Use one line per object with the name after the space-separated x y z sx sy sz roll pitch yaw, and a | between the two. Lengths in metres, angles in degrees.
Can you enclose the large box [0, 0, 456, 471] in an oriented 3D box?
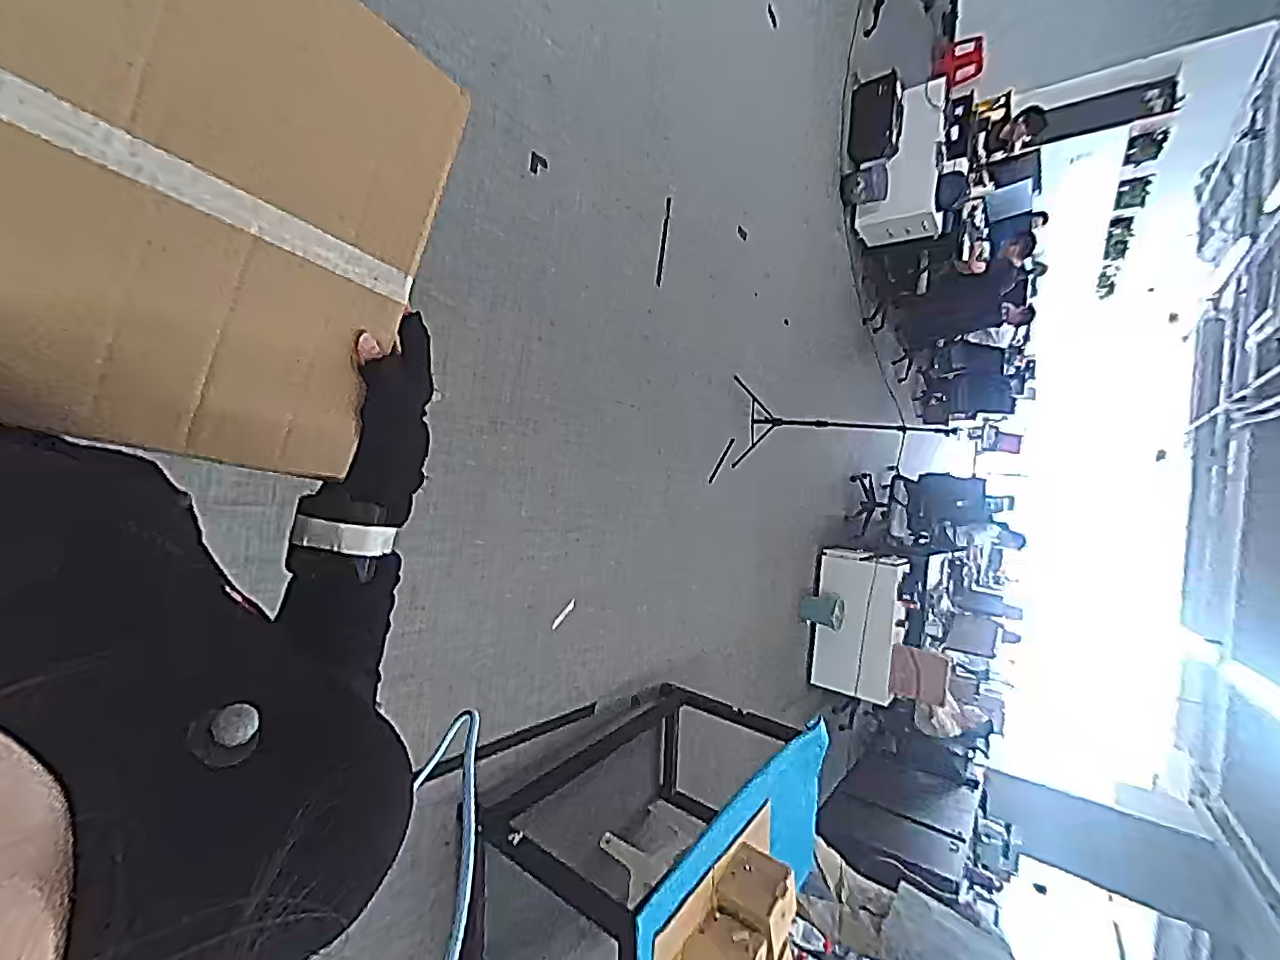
-0.418 -0.223 0.367 0.408 0.320 0.320 17 94 -50 | large box
